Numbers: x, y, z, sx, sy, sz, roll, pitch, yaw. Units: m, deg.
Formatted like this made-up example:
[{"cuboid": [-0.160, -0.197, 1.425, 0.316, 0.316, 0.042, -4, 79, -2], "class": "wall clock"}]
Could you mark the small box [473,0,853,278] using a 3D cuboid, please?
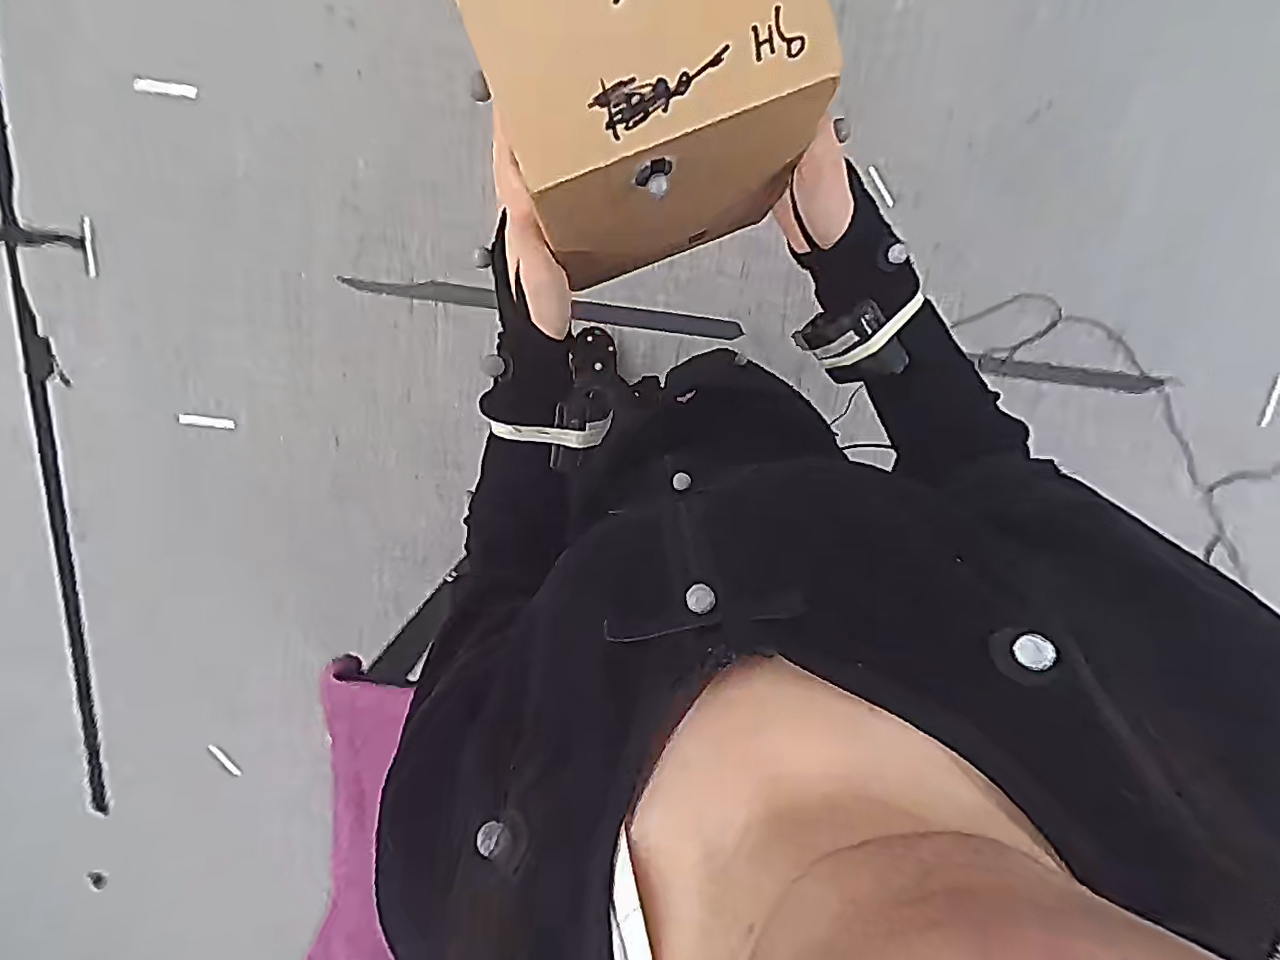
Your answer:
[{"cuboid": [-0.003, -0.255, 0.332, 0.168, 0.176, 0.179, -19, 93, 1], "class": "small box"}]

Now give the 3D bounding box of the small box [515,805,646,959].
[{"cuboid": [-0.084, 0.628, 0.821, 0.179, 0.176, 0.168, 5, 104, -1], "class": "small box"}]
